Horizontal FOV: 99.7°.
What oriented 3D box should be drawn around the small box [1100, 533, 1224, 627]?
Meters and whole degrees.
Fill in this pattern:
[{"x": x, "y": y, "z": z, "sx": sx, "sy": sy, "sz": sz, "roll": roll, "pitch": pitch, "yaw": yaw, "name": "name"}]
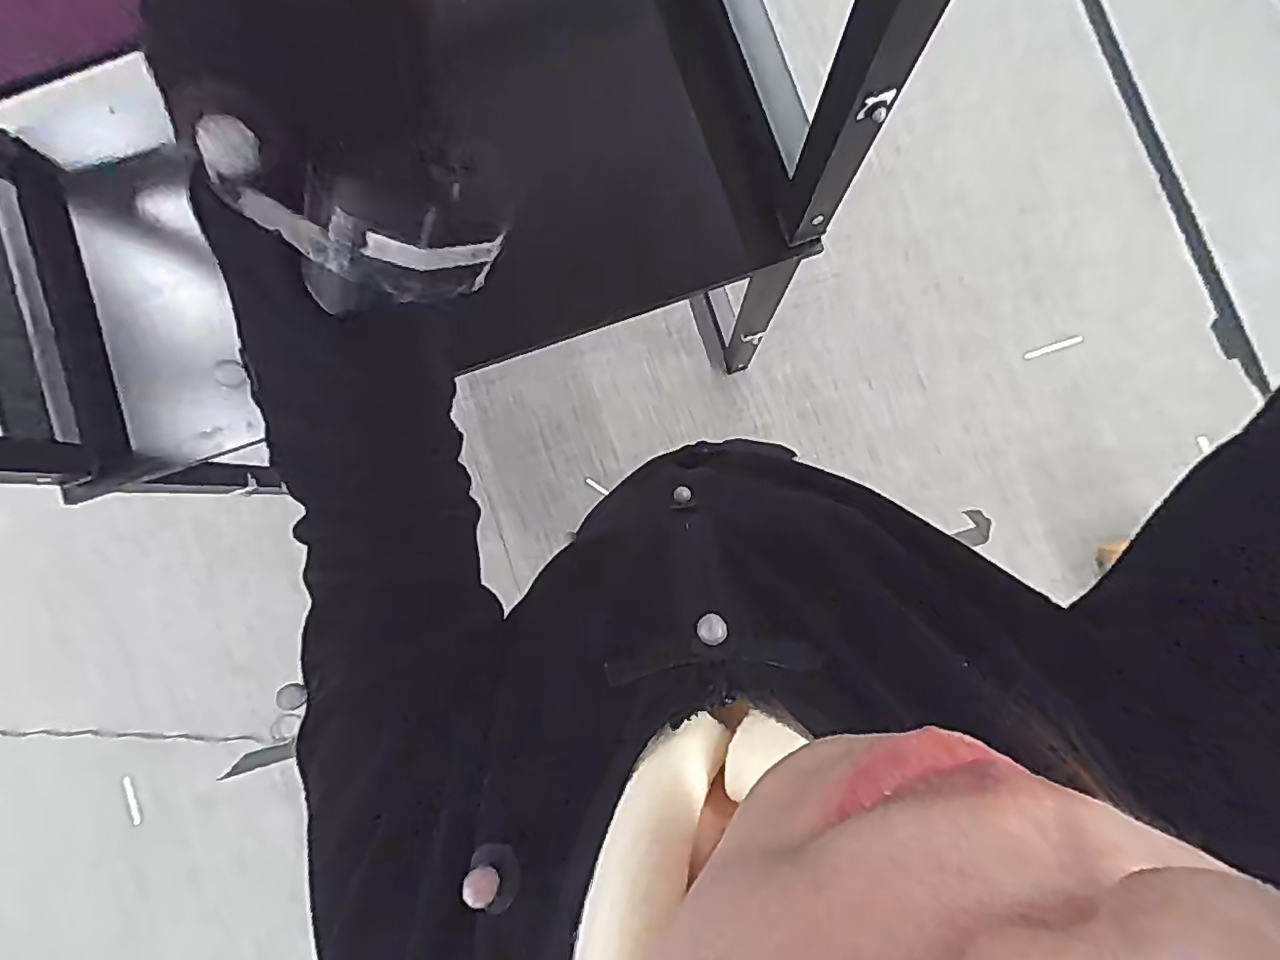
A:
[{"x": 1.301, "y": 0.240, "z": 1.337, "sx": 0.168, "sy": 0.176, "sz": 0.179, "roll": -17, "pitch": 88, "yaw": 2, "name": "small box"}]
